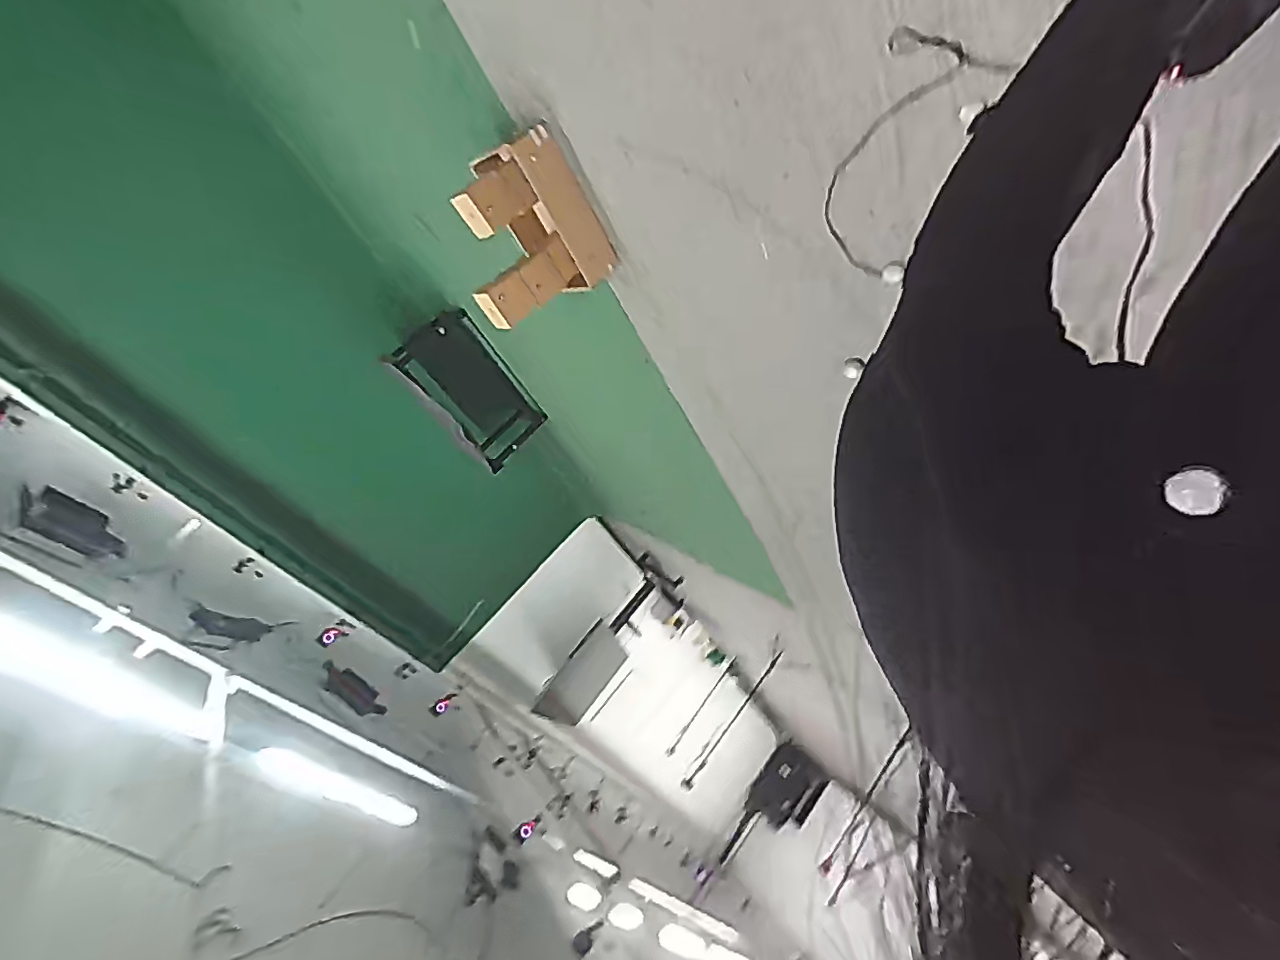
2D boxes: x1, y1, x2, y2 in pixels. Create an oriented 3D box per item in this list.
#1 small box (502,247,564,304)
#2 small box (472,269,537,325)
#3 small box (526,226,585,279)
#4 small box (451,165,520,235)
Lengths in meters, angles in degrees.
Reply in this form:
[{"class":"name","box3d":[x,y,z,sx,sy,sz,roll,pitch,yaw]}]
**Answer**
[{"class":"small box","box3d":[-0.468,-0.898,2.376,0.168,0.176,0.179,21,151,48]},{"class":"small box","box3d":[-0.578,-0.789,2.318,0.168,0.176,0.179,22,153,49]},{"class":"small box","box3d":[-0.370,-1.019,2.430,0.179,0.176,0.168,21,152,49]},{"class":"small box","box3d":[-0.614,-1.119,2.166,0.168,0.176,0.179,18,152,49]}]
